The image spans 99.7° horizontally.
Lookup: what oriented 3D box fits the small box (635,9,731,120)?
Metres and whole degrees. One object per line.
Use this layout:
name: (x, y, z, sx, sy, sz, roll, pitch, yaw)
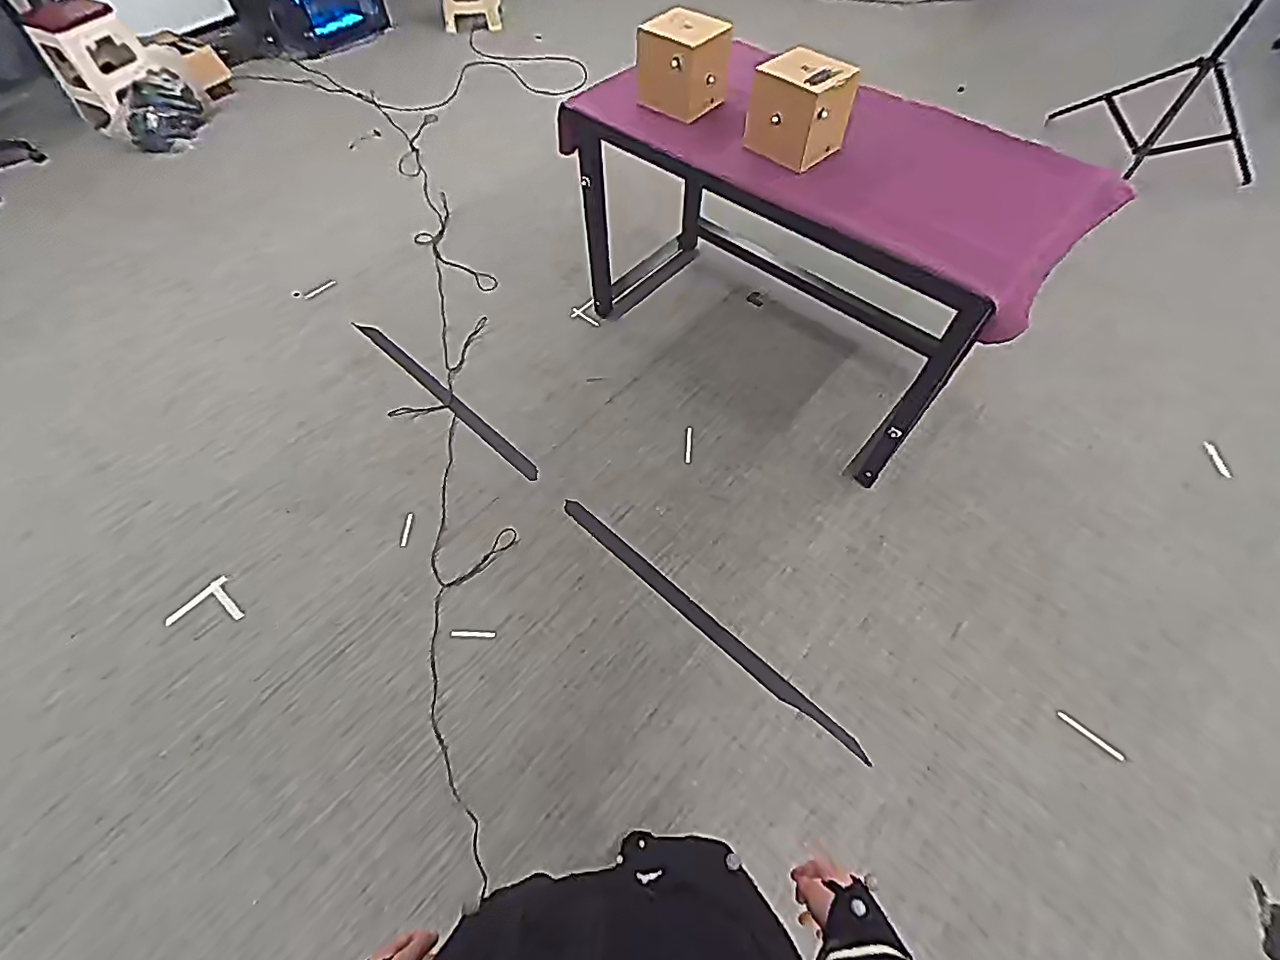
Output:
small box: (0.105, -1.051, 1.376, 0.179, 0.176, 0.168, 35, 63, 20)
